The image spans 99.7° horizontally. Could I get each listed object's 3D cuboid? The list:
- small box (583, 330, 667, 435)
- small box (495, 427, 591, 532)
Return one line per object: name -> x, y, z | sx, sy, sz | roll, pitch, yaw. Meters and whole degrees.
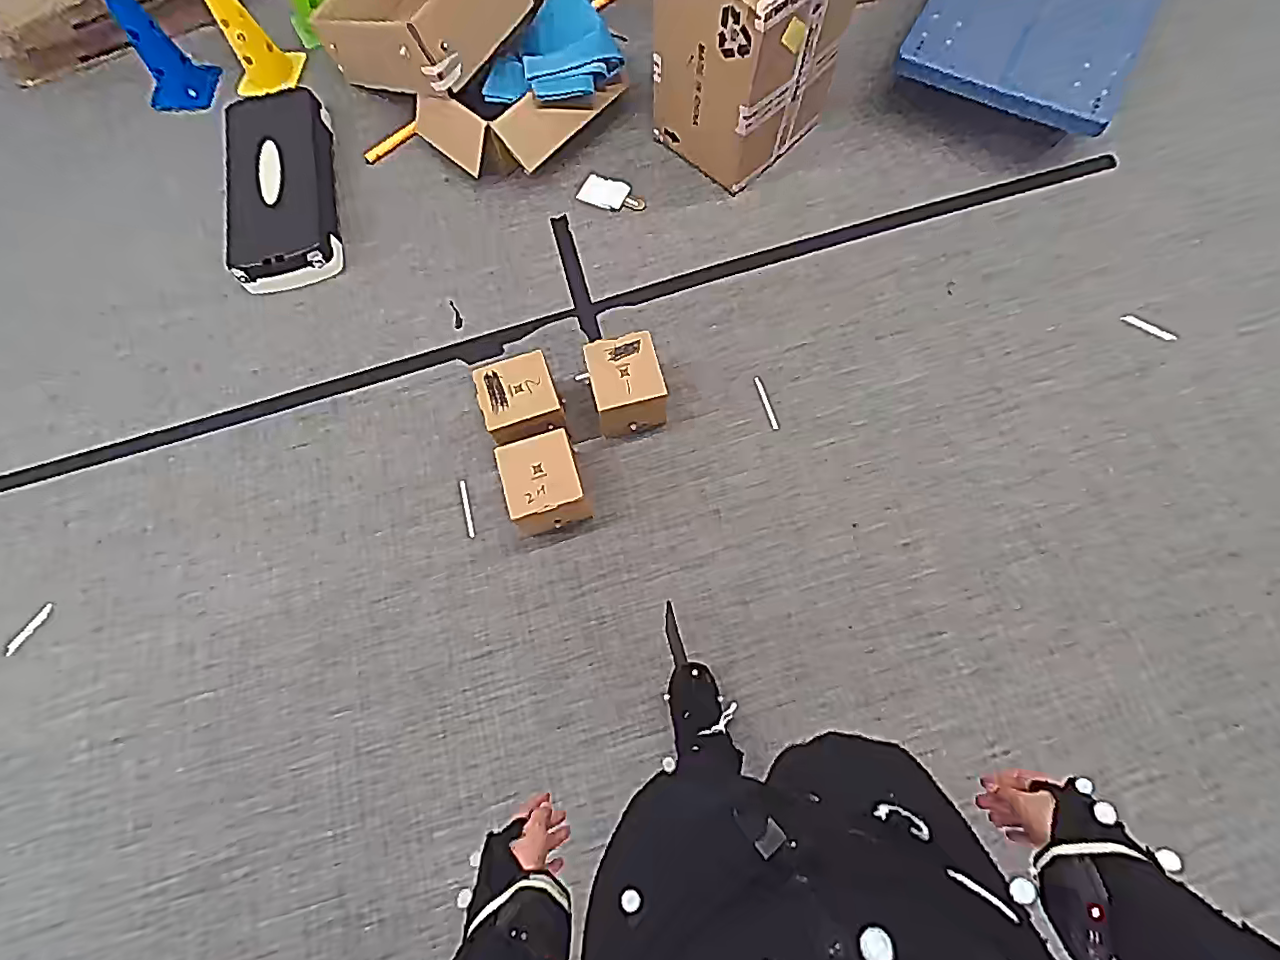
small box -> -0.035, -0.234, 1.323 | 0.168, 0.176, 0.179 | -14, 73, -2
small box -> -0.220, 0.004, 1.256 | 0.168, 0.176, 0.179 | -17, 73, -2
